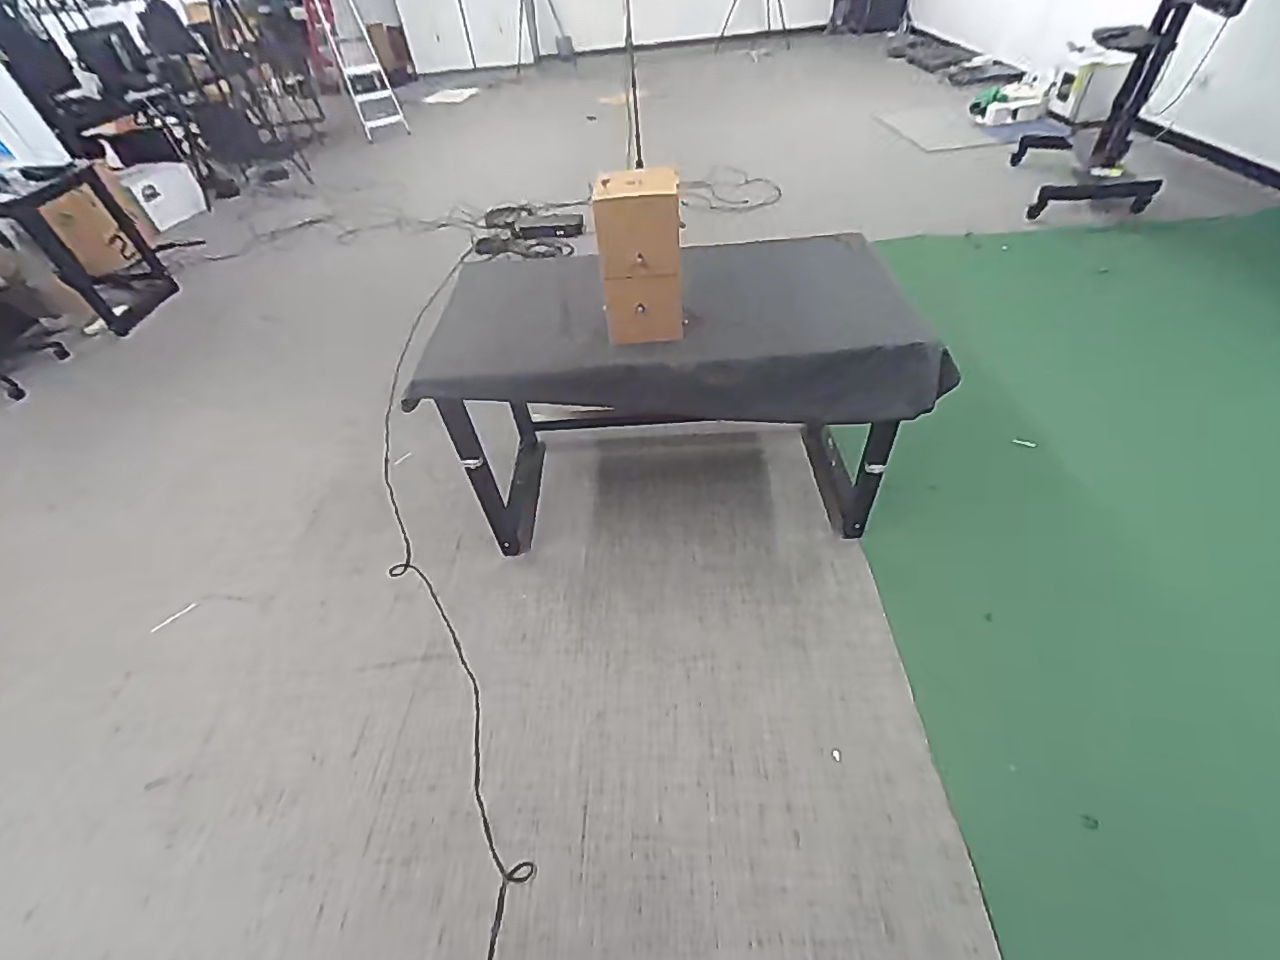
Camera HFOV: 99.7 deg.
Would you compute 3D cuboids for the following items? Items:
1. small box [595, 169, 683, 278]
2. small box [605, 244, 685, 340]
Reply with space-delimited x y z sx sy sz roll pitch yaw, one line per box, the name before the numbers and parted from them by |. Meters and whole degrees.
small box | 0.005 -0.558 1.182 0.179 0.176 0.168 -2 46 4
small box | 0.019 -0.449 1.299 0.179 0.176 0.168 0 44 6
